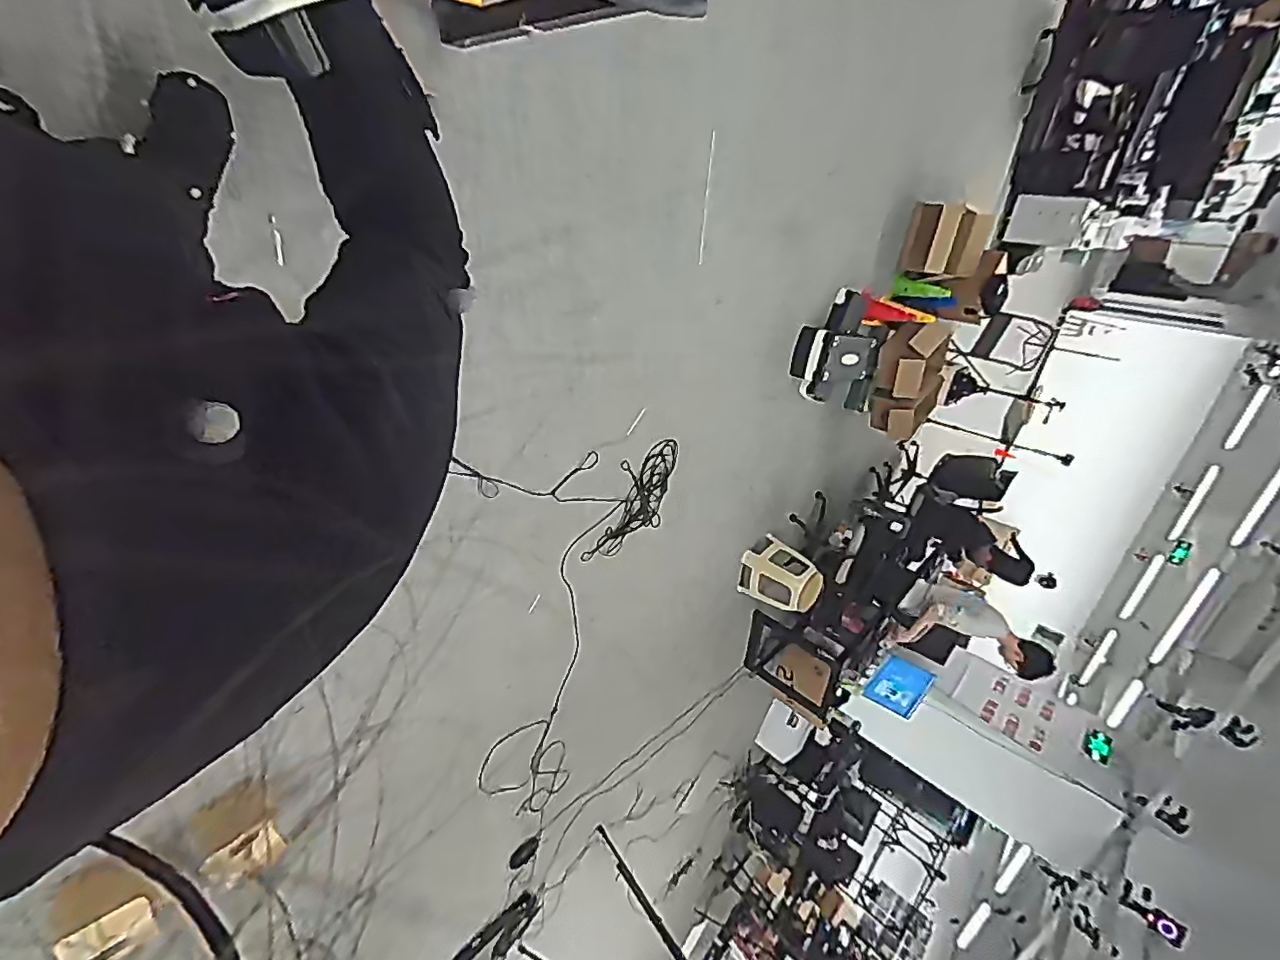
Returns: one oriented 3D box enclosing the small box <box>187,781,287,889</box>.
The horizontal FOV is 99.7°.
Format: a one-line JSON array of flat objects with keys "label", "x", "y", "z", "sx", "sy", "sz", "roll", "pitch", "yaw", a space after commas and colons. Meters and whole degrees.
[{"label": "small box", "x": -1.171, "y": 1.019, "z": 1.570, "sx": 0.168, "sy": 0.176, "sz": 0.179, "roll": -29, "pitch": 132, "yaw": -36}]
